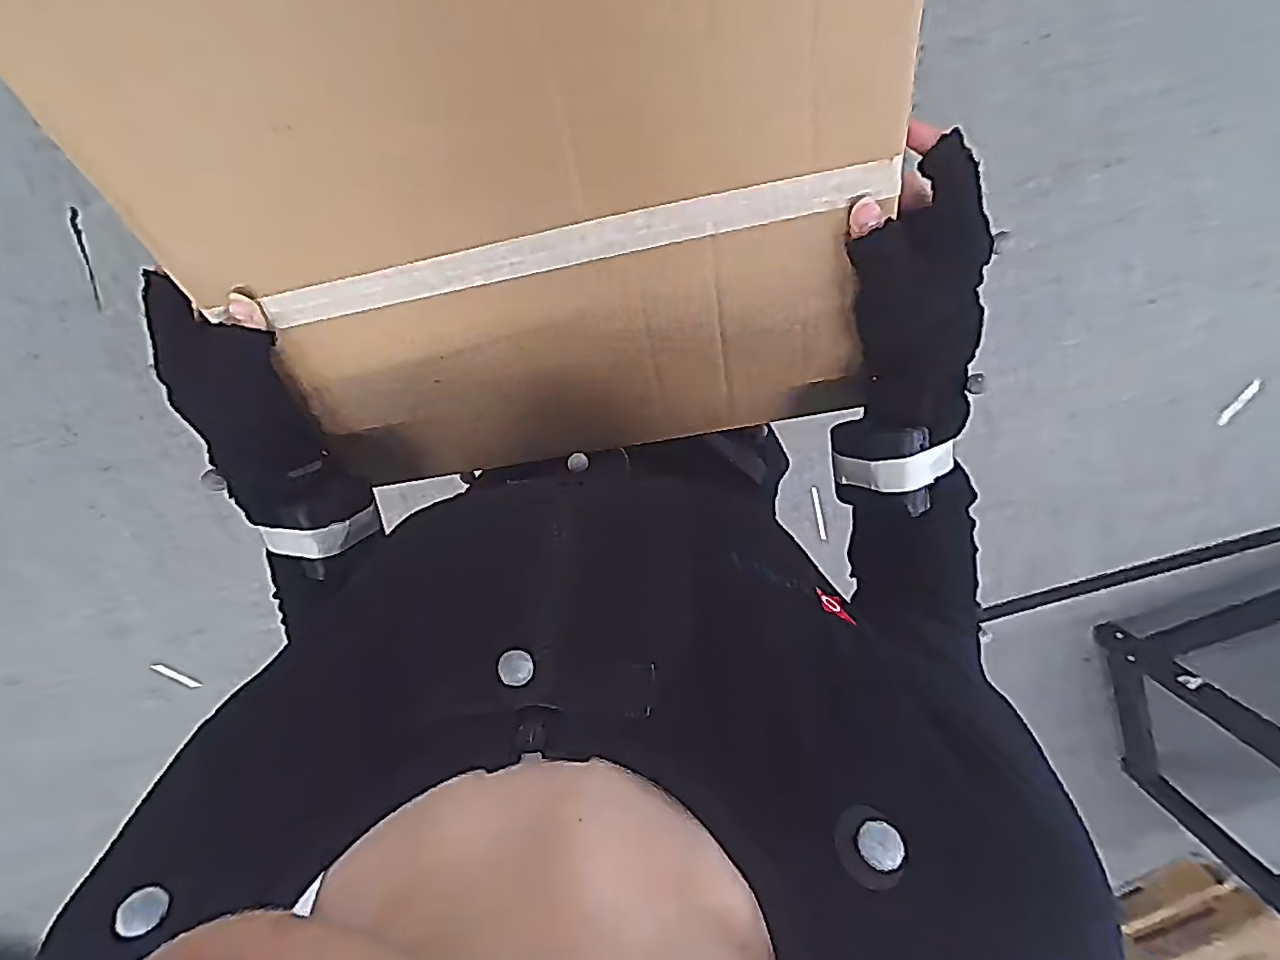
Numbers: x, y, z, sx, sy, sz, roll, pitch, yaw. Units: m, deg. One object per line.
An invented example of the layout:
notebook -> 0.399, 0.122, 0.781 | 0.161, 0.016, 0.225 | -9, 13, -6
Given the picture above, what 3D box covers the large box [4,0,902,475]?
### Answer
large box -> -0.067, -0.245, 0.421 | 0.408, 0.320, 0.320 | -9, 137, 7
